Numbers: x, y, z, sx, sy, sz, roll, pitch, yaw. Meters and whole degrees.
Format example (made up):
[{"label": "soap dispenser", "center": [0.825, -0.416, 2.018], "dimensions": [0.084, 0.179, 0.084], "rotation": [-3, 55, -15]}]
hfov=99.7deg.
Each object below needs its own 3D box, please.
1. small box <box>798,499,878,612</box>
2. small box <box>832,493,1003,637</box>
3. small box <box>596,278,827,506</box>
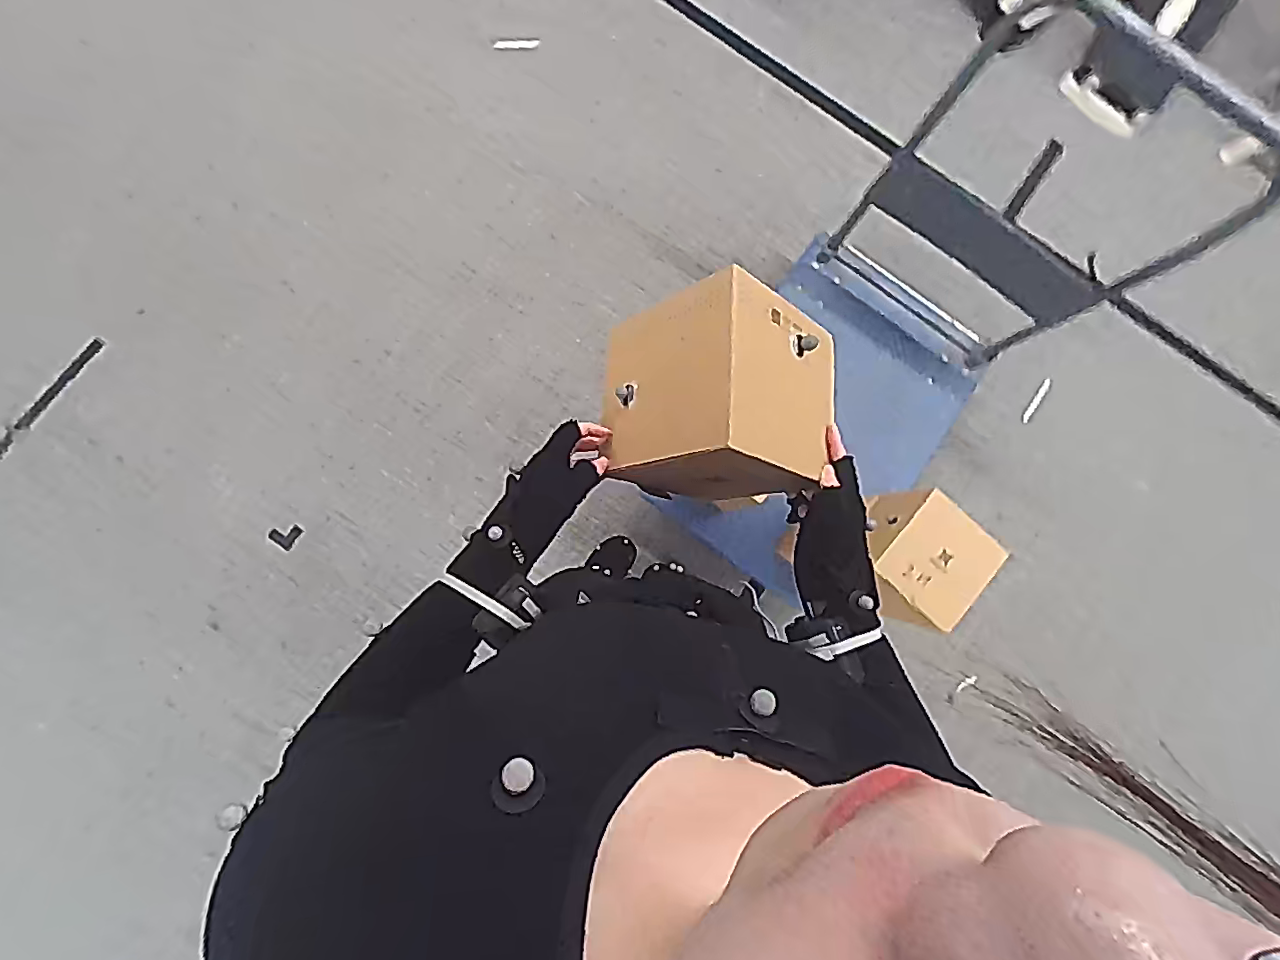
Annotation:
[{"label": "small box", "center": [0.461, 0.159, 1.120], "dimensions": [0.179, 0.176, 0.168], "rotation": [41, 83, -1]}, {"label": "small box", "center": [0.476, 0.142, 0.957], "dimensions": [0.168, 0.176, 0.179], "rotation": [43, 83, 0]}, {"label": "small box", "center": [0.076, -0.075, 0.559], "dimensions": [0.168, 0.179, 0.176], "rotation": [13, 74, -40]}]
